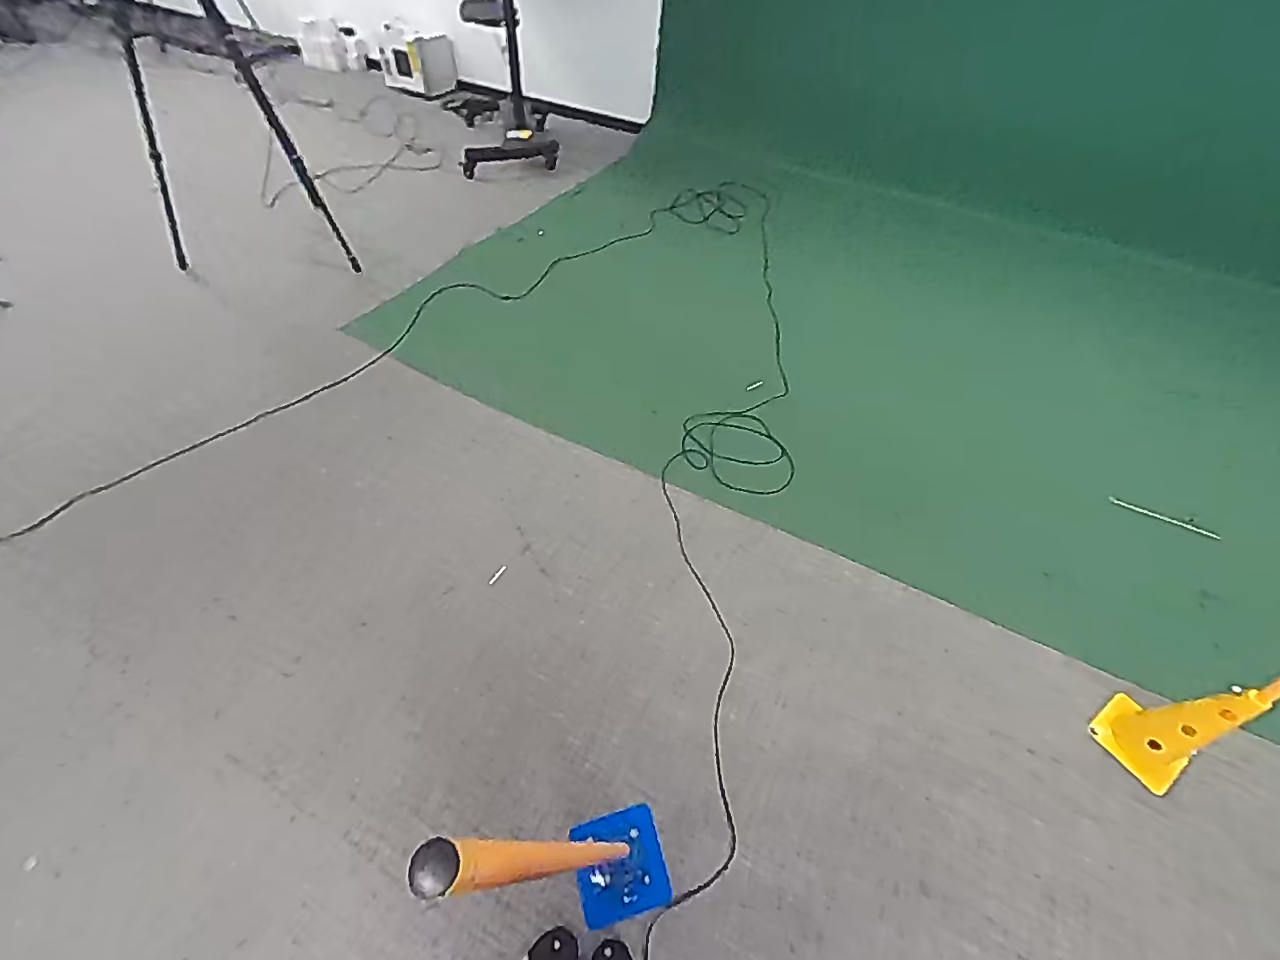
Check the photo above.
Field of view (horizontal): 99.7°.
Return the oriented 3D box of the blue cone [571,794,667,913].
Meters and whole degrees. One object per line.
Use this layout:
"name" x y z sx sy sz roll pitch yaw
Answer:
"blue cone" -0.041 0.743 1.091 0.193 0.380 0.192 -13 54 -12
